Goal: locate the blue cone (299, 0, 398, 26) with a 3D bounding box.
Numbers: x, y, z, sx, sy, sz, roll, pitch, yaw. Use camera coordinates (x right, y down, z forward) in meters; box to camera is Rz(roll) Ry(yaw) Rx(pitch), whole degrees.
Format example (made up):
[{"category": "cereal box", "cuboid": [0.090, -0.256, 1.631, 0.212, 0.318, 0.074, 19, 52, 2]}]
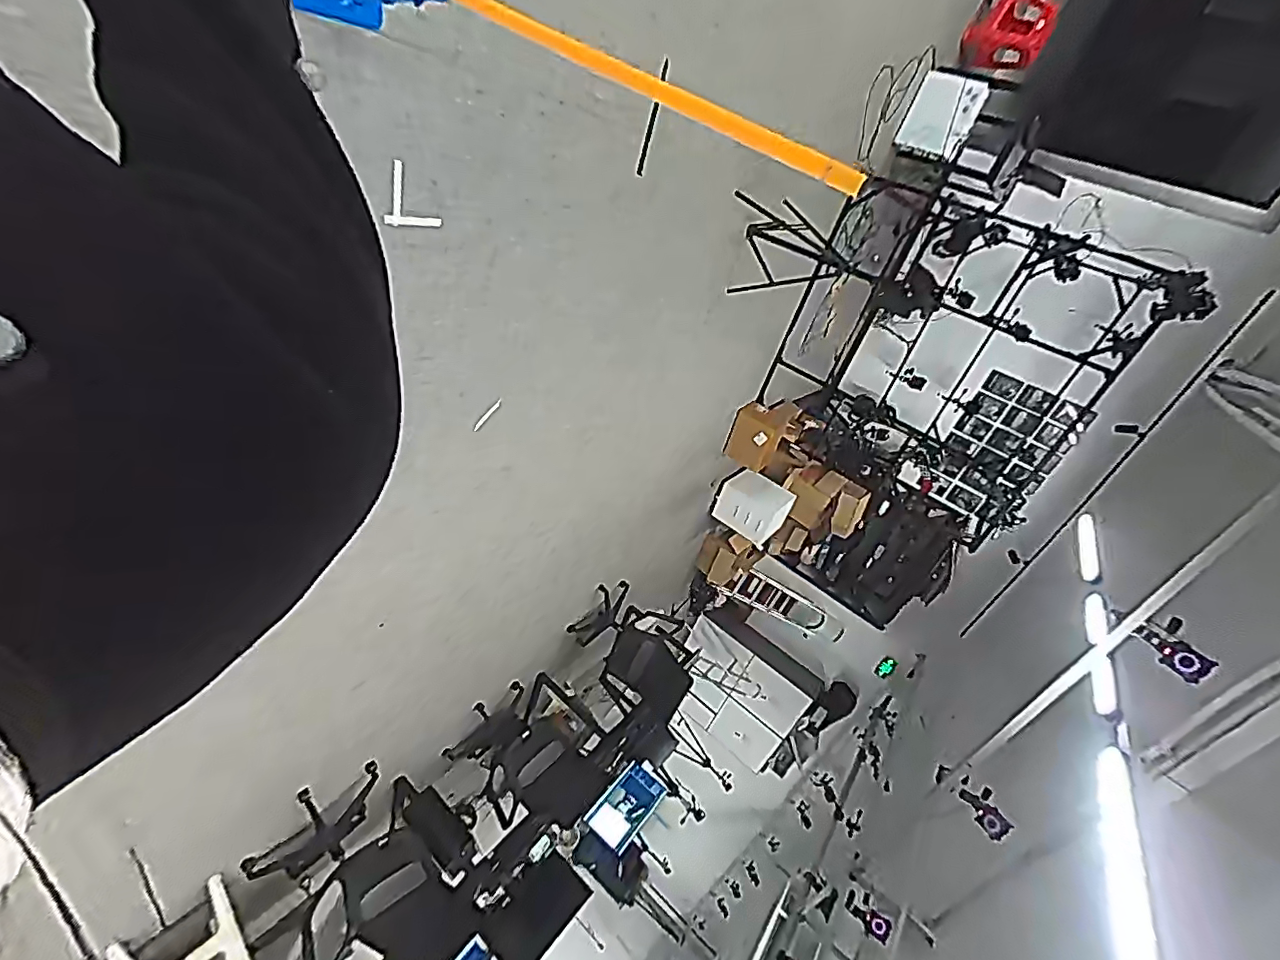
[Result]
[{"category": "blue cone", "cuboid": [-0.478, -0.954, 1.011, 0.193, 0.380, 0.192, -29, 144, -48]}]
